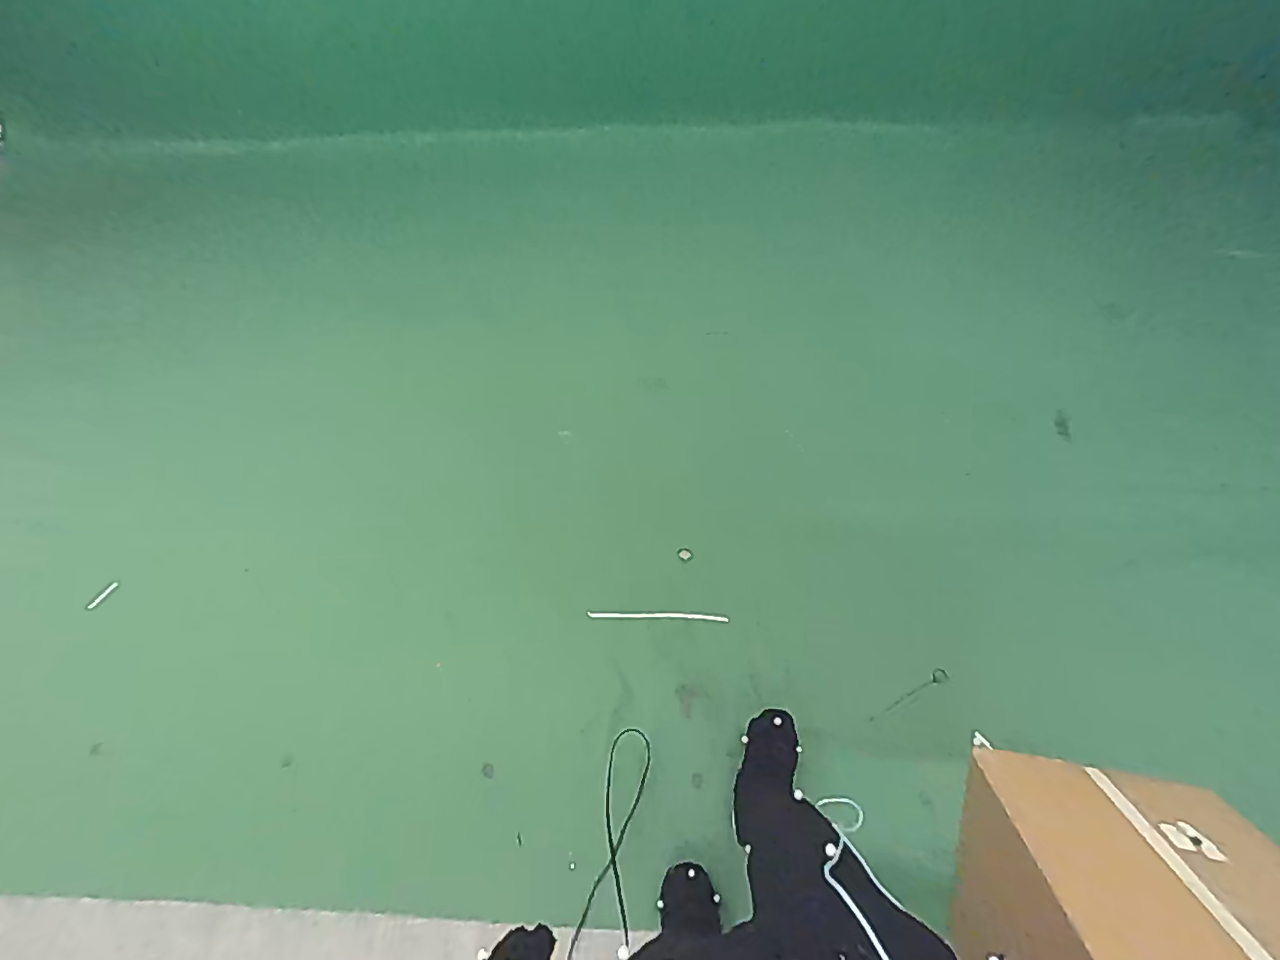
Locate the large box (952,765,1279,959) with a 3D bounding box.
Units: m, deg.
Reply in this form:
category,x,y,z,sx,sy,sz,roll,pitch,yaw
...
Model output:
category,x,y,z,sx,sy,sz,roll,pitch,yaw
large box,0.600,0.614,0.619,0.320,0.408,0.320,6,96,14
